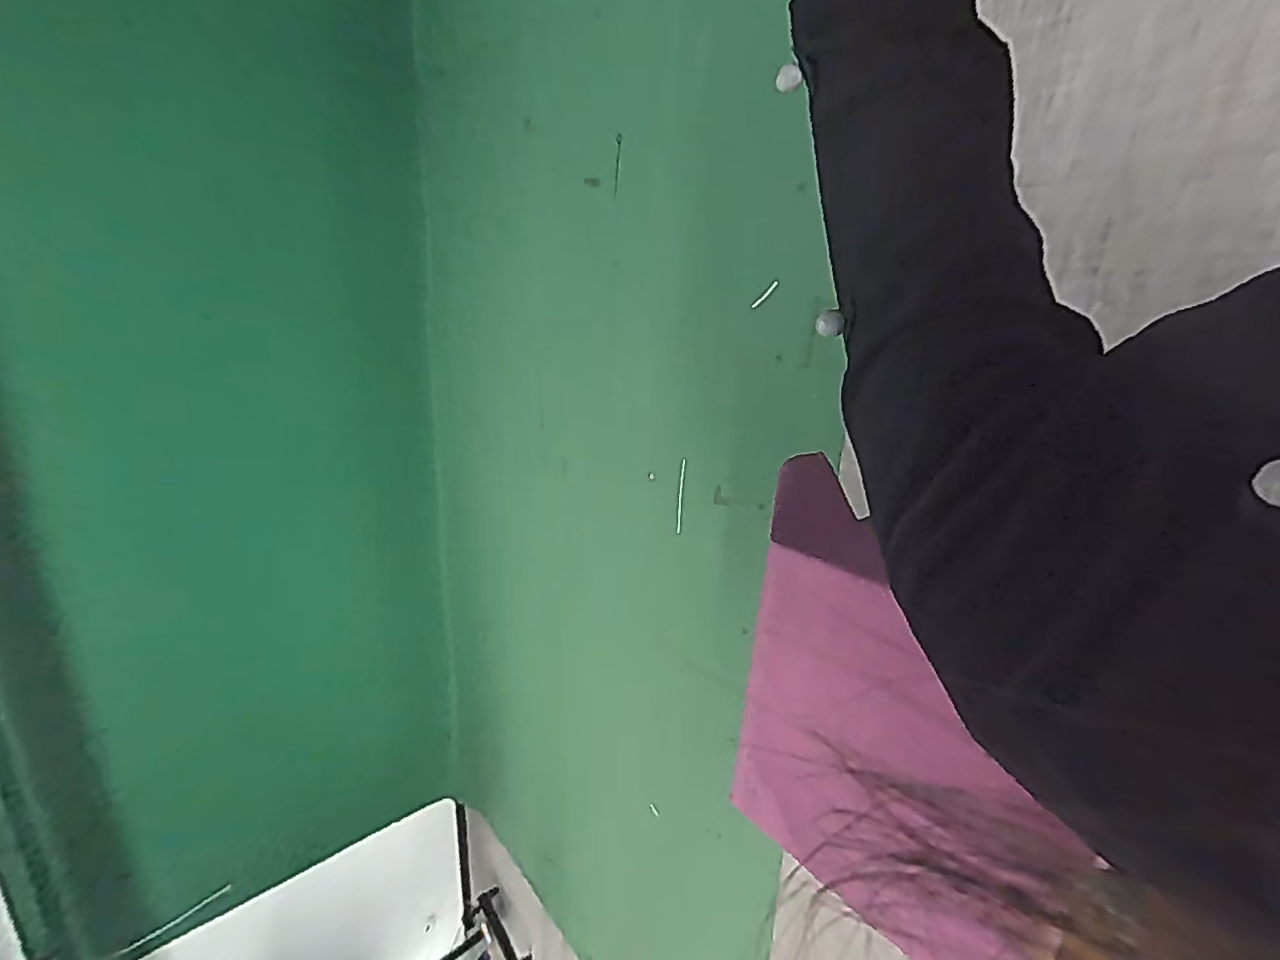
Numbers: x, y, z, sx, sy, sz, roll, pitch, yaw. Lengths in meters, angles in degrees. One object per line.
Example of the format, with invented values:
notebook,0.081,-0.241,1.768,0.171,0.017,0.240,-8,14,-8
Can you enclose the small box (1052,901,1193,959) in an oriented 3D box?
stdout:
small box,0.448,0.529,0.462,0.179,0.176,0.168,25,117,44
